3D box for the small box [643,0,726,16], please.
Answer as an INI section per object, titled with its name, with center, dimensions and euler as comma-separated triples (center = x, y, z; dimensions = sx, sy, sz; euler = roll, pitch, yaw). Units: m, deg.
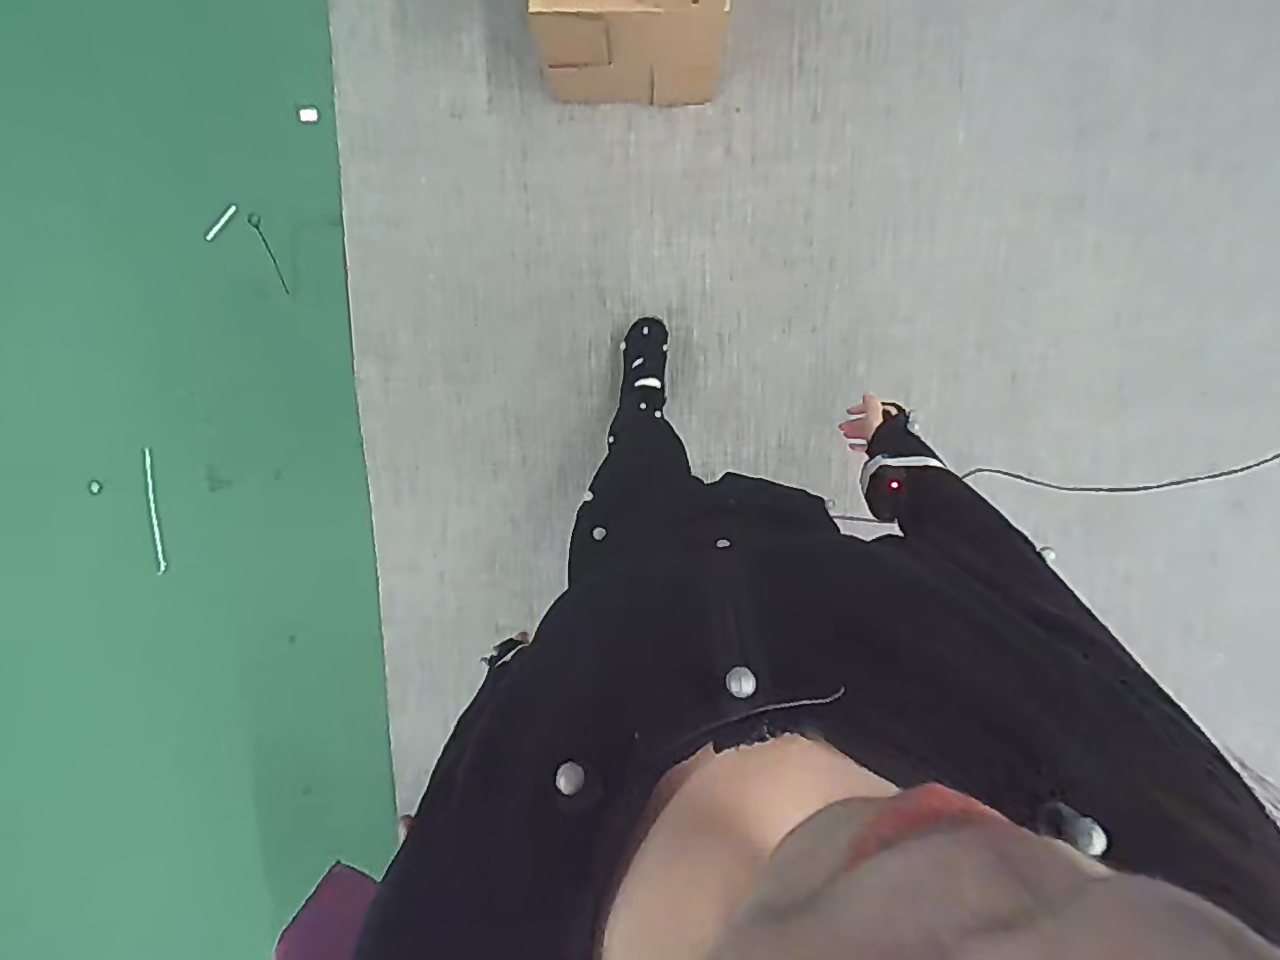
[small box]
center = 0.086, -0.993, 0.970
dimensions = 0.168, 0.176, 0.179
euler = 4, 94, 3
